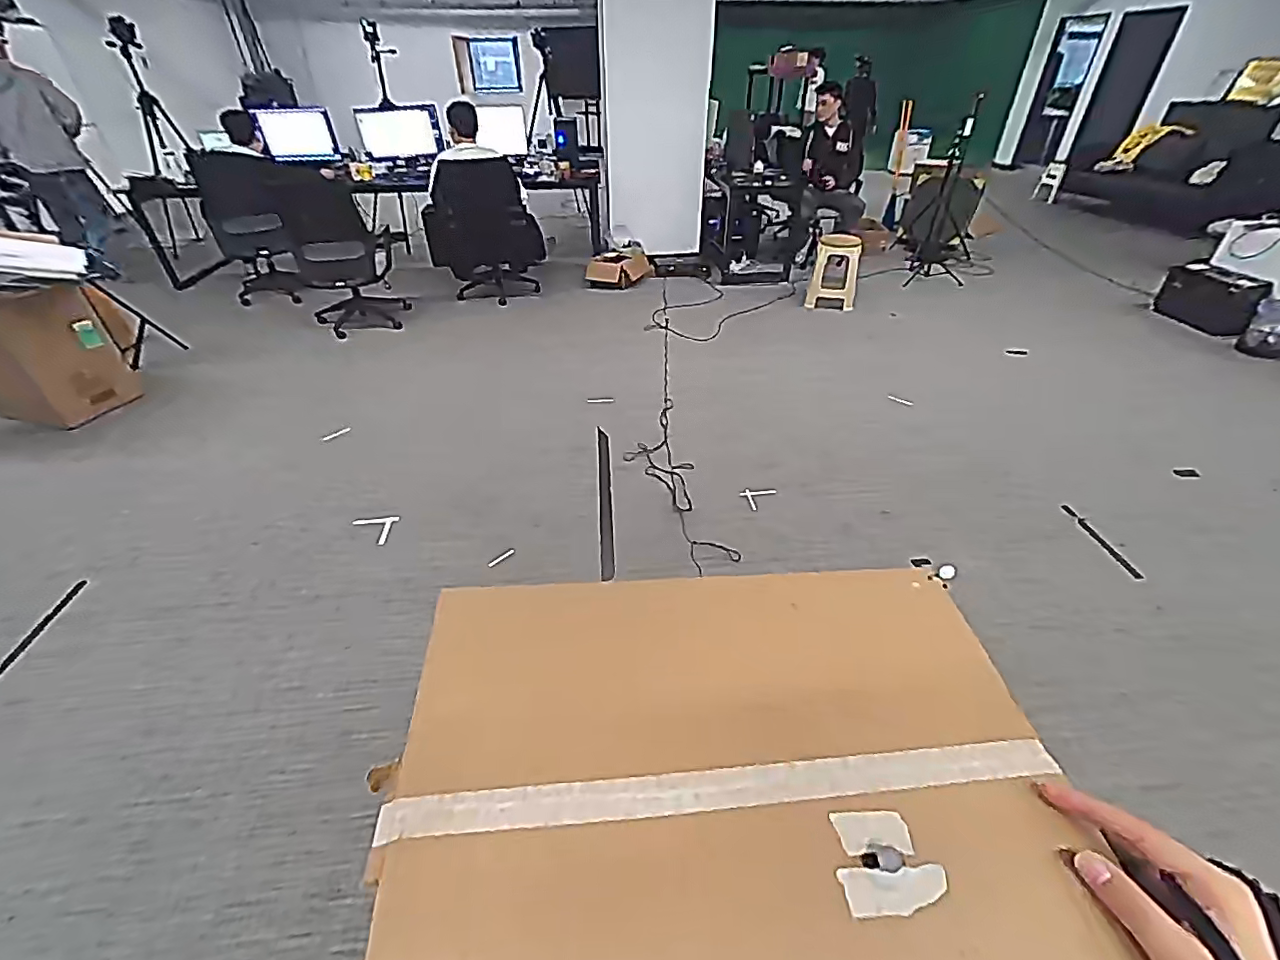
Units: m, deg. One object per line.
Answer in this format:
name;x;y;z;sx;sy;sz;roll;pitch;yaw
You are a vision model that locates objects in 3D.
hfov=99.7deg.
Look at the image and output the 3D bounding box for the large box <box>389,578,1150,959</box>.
large box;0.052;0.304;0.434;0.408;0.320;0.320;-1;44;-7
